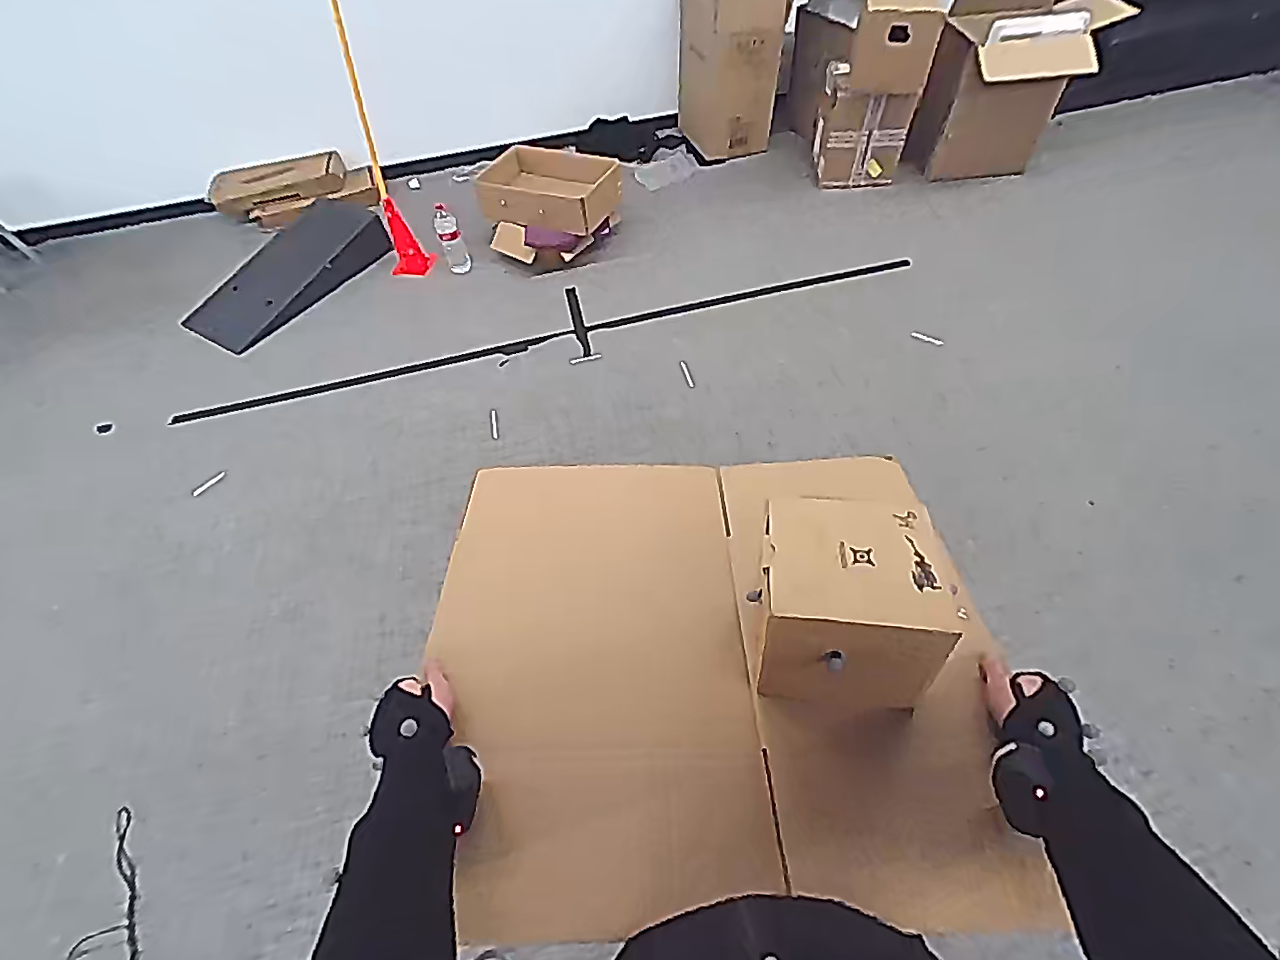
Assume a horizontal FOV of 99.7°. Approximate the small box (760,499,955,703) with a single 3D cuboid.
[{"bbox_3d":[0.231,0.140,0.627,0.179,0.176,0.168,2,45,10],"label":"small box"}]
